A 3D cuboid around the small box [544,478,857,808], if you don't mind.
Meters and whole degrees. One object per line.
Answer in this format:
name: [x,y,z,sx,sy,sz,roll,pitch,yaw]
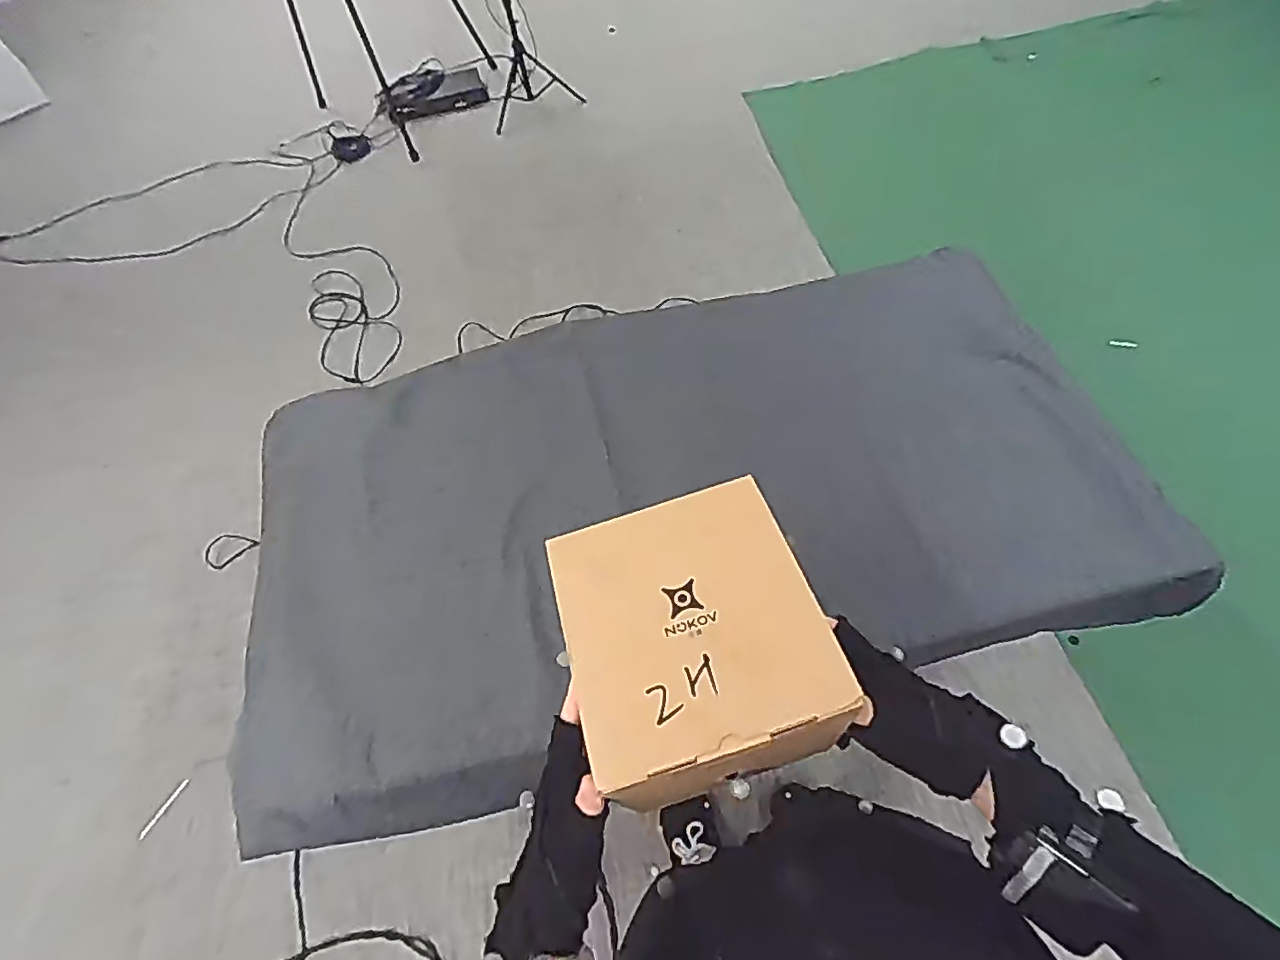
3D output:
small box: [0.038,0.132,0.421,0.168,0.176,0.179,-18,55,-1]
